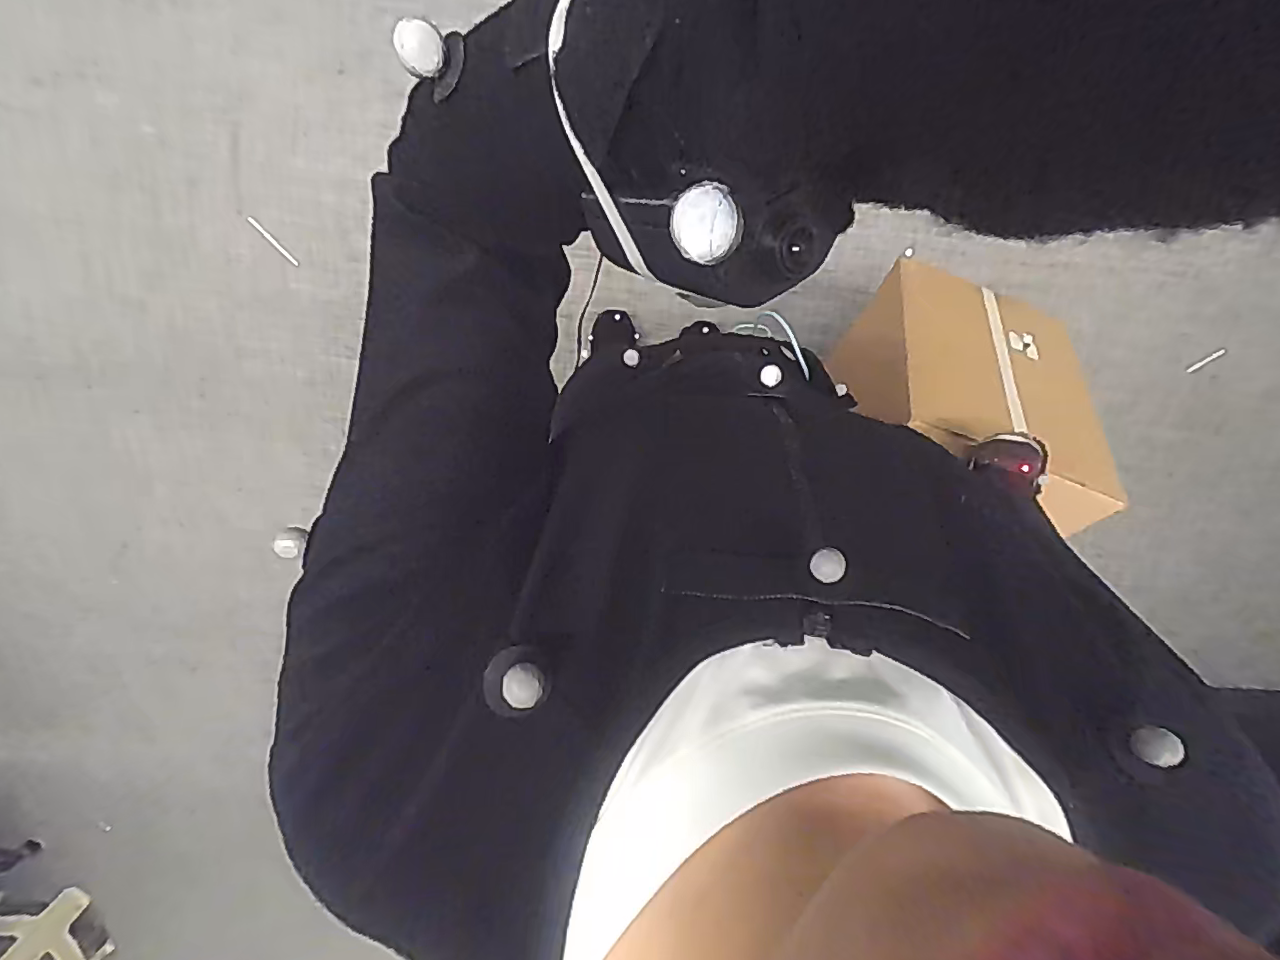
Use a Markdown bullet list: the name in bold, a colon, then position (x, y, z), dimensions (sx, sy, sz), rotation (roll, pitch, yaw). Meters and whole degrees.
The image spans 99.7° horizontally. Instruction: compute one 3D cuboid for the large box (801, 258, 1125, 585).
- **large box**: position (0.494, -0.094, 0.925), dimensions (0.320, 0.408, 0.320), rotation (21, 143, -4)
